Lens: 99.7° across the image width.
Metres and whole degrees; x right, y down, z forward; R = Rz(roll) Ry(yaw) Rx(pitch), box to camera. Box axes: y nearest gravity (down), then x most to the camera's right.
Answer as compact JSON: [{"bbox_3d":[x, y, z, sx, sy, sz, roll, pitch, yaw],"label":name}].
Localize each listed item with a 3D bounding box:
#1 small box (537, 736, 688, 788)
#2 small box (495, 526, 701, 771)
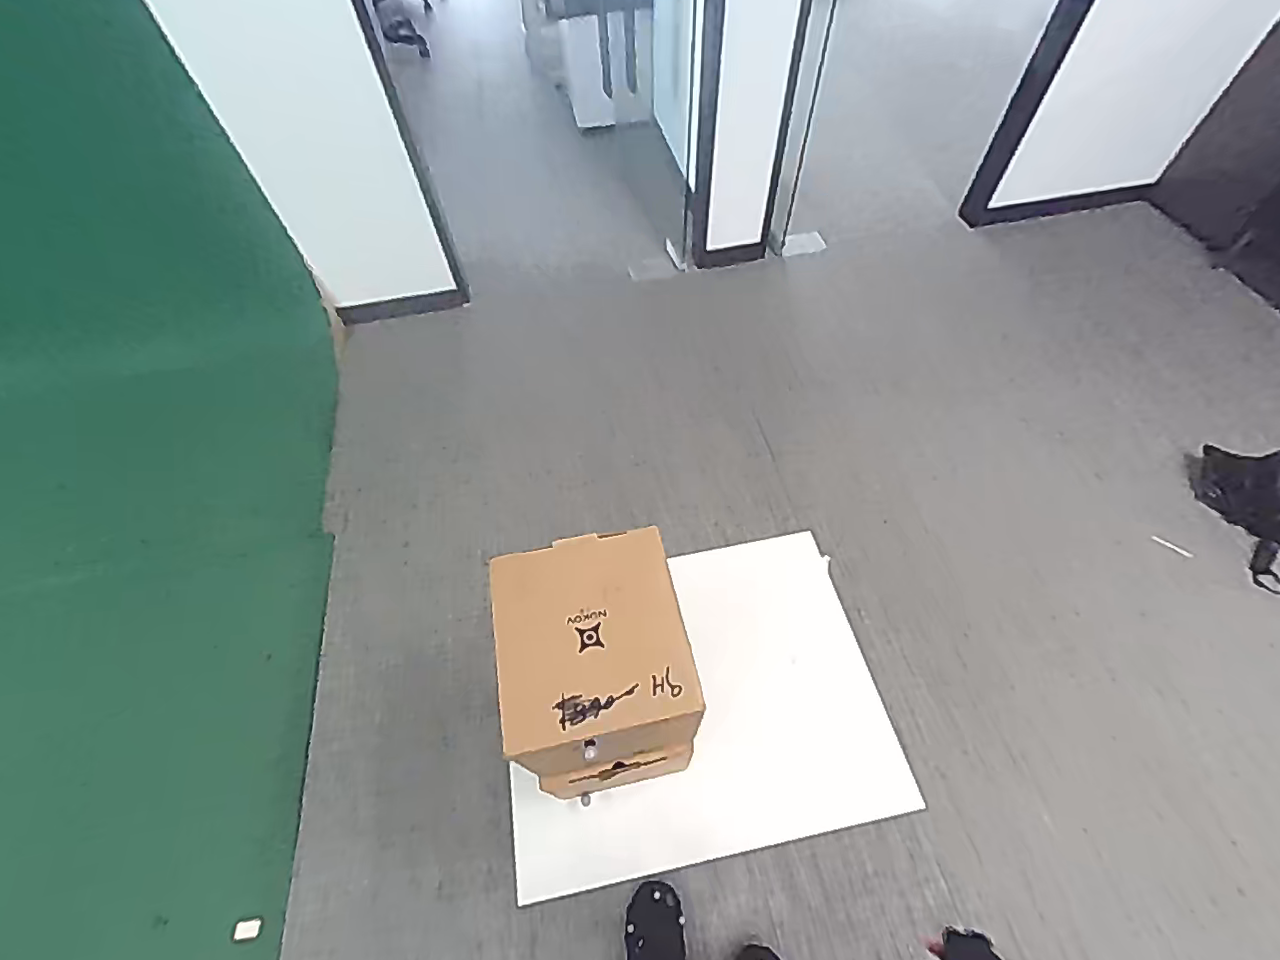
[{"bbox_3d":[-0.040,0.273,0.679,0.168,0.176,0.179,-11,56,-5],"label":"small box"},{"bbox_3d":[-0.043,0.174,0.550,0.168,0.176,0.179,-11,56,-5],"label":"small box"}]
